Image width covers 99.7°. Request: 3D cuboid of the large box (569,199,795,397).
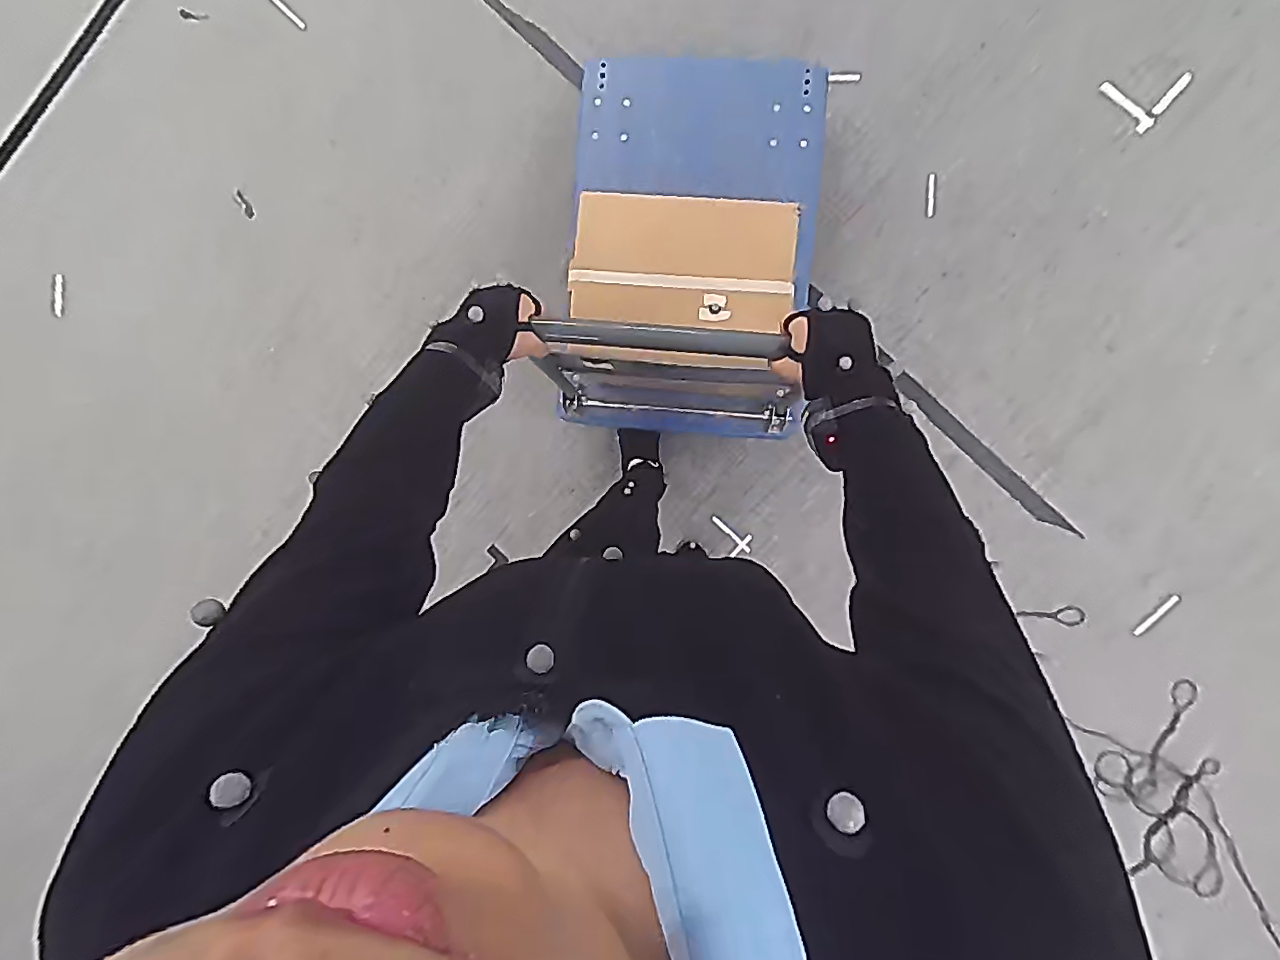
[{"bbox_3d":[0.081,-0.360,1.146,0.408,0.320,0.320,5,93,3],"label":"large box"}]
